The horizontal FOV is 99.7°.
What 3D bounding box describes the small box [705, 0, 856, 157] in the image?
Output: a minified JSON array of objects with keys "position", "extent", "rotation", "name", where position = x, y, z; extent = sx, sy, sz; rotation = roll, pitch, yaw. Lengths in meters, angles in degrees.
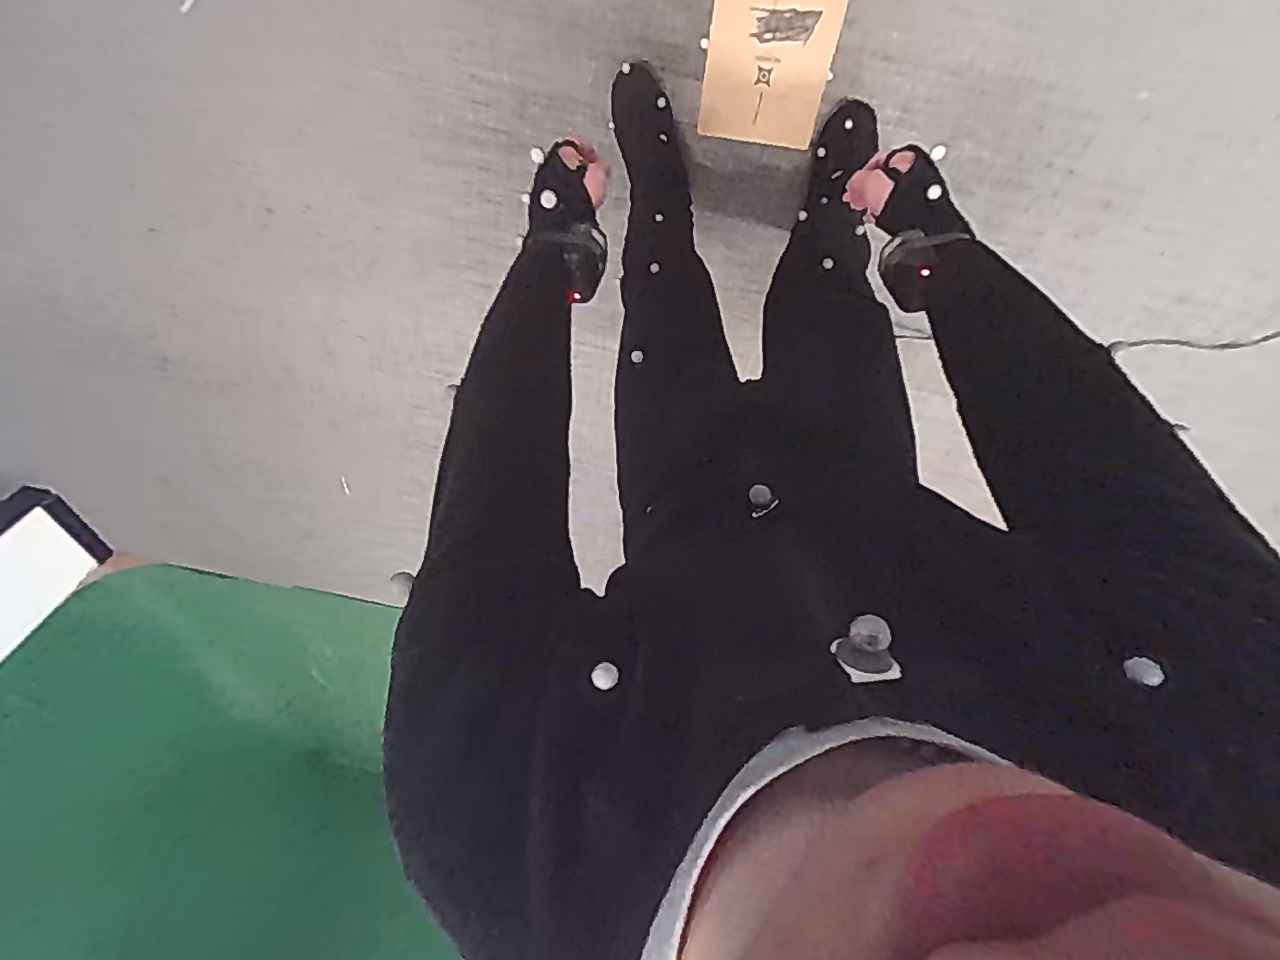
[{"position":[0.196,-0.601,0.788],"extent":[0.168,0.176,0.179],"rotation":[11,136,5],"name":"small box"}]
